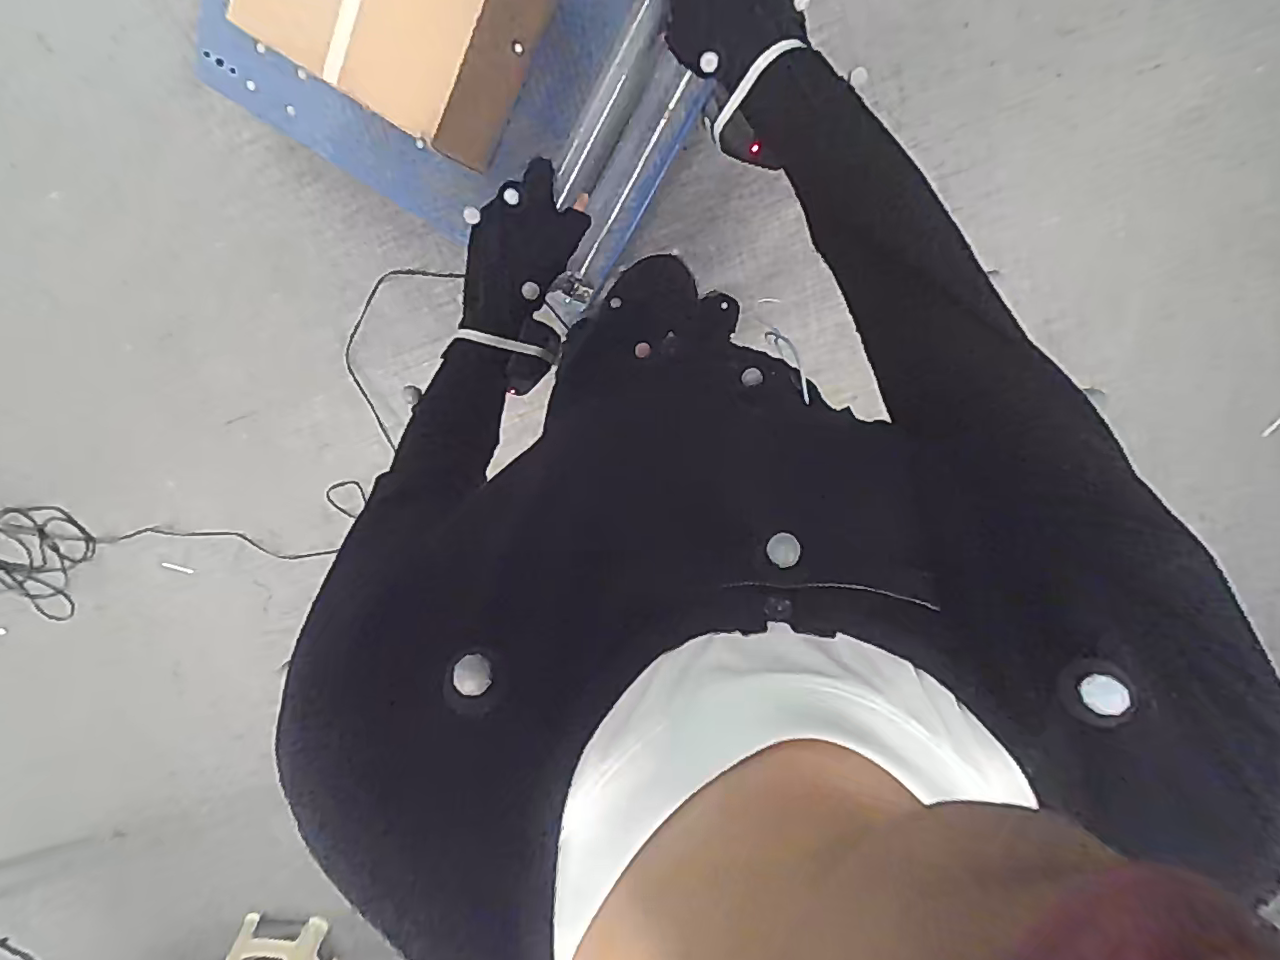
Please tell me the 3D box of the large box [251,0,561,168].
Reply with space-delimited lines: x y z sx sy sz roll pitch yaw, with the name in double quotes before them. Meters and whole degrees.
"large box" -0.338 -0.806 0.880 0.320 0.320 0.408 29 111 -9
